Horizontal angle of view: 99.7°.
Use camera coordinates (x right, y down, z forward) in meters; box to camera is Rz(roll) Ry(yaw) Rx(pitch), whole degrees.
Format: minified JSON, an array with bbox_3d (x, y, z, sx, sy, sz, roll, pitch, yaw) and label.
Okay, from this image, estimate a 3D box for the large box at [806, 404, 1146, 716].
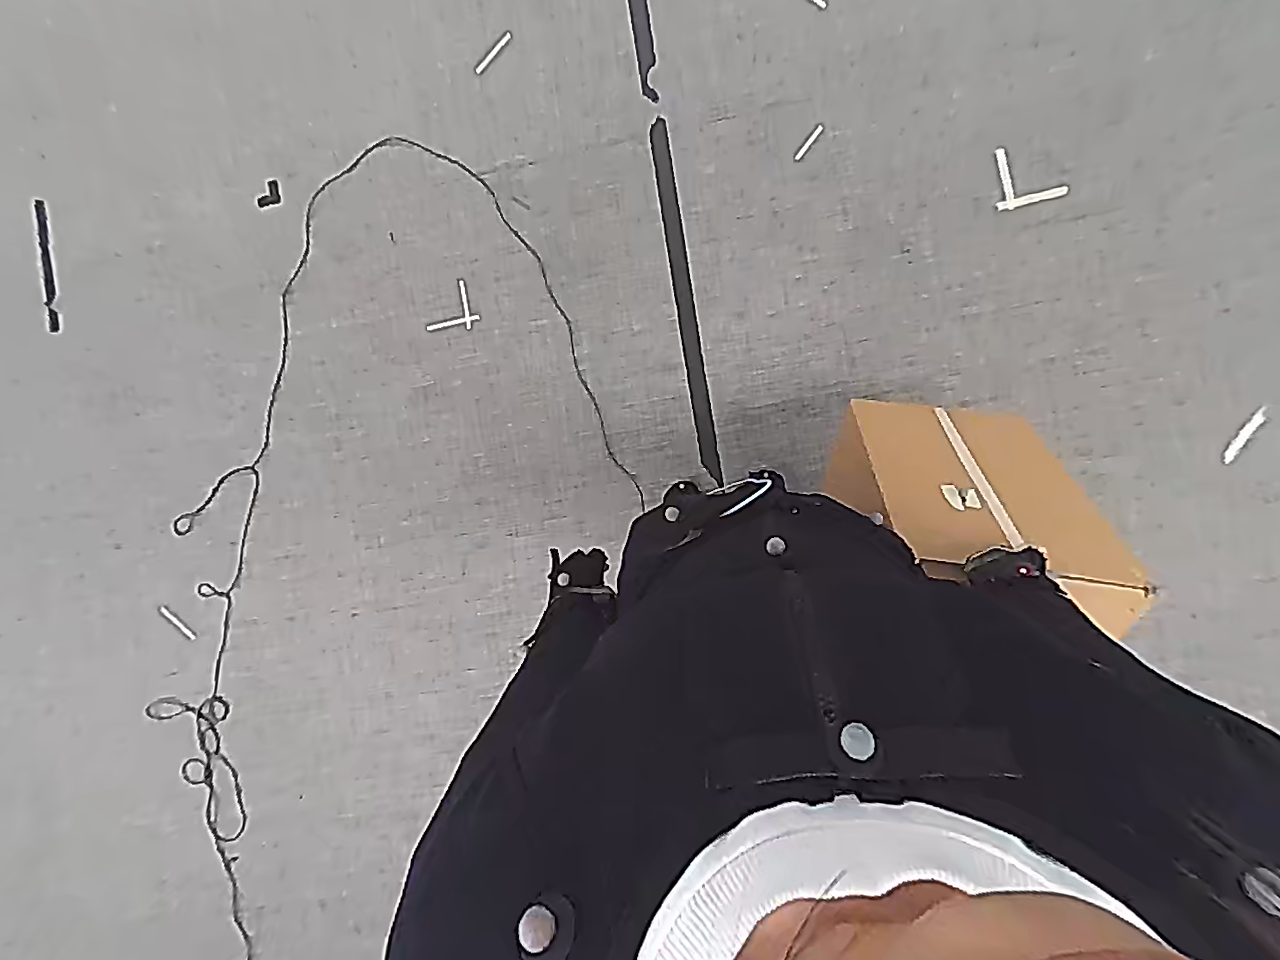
[{"bbox_3d":[0.492,0.119,0.922,0.320,0.408,0.320,7,130,5],"label":"large box"}]
